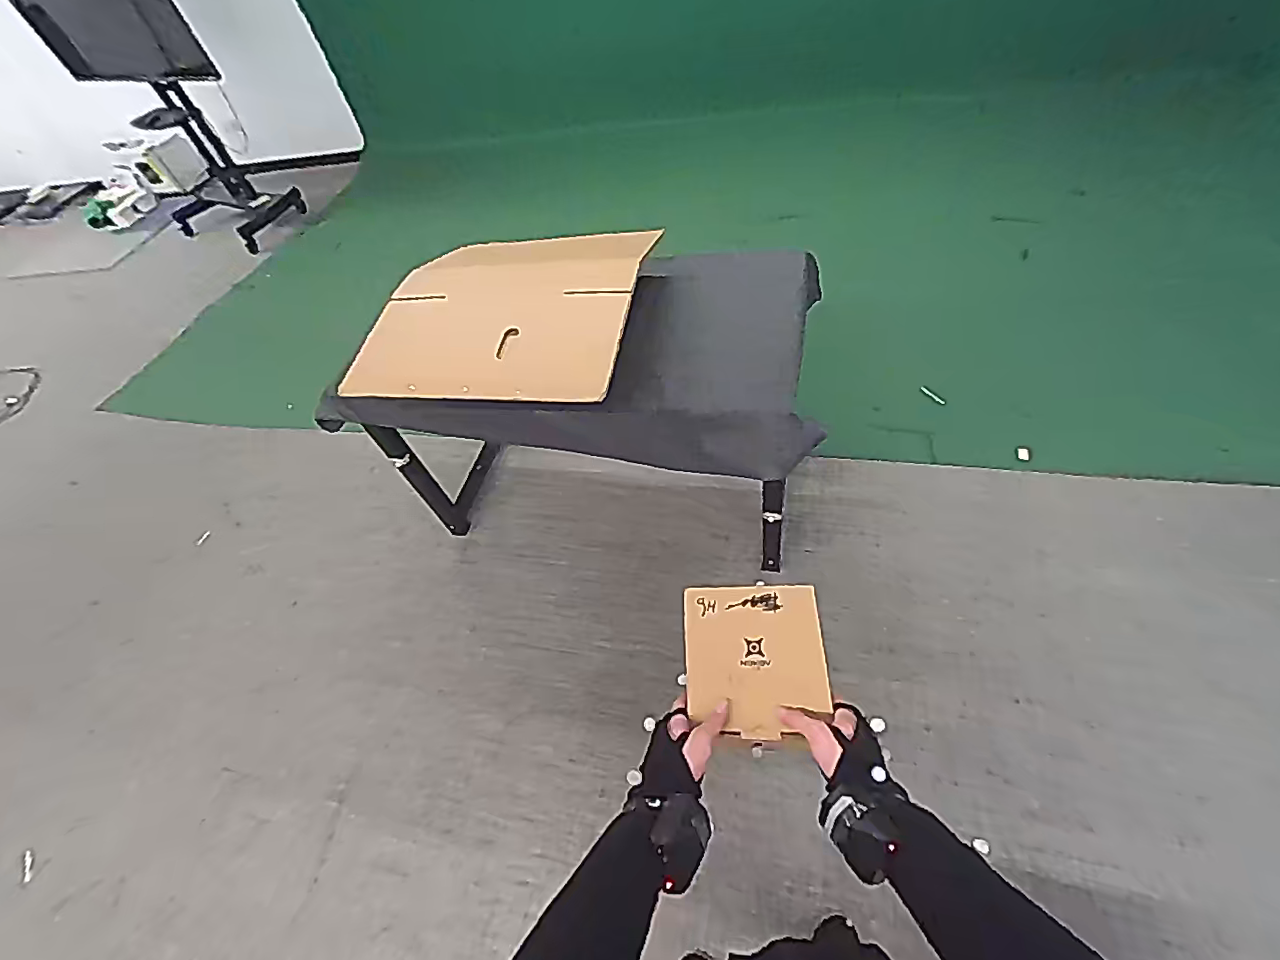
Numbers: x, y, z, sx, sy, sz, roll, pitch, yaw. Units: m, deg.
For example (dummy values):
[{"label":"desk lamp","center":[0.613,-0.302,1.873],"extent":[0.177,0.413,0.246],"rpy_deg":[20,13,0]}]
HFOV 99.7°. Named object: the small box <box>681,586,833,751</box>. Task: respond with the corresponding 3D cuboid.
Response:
[{"label":"small box","center":[0.147,0.258,0.721],"extent":[0.168,0.176,0.179],"rpy_deg":[-5,56,6]}]
